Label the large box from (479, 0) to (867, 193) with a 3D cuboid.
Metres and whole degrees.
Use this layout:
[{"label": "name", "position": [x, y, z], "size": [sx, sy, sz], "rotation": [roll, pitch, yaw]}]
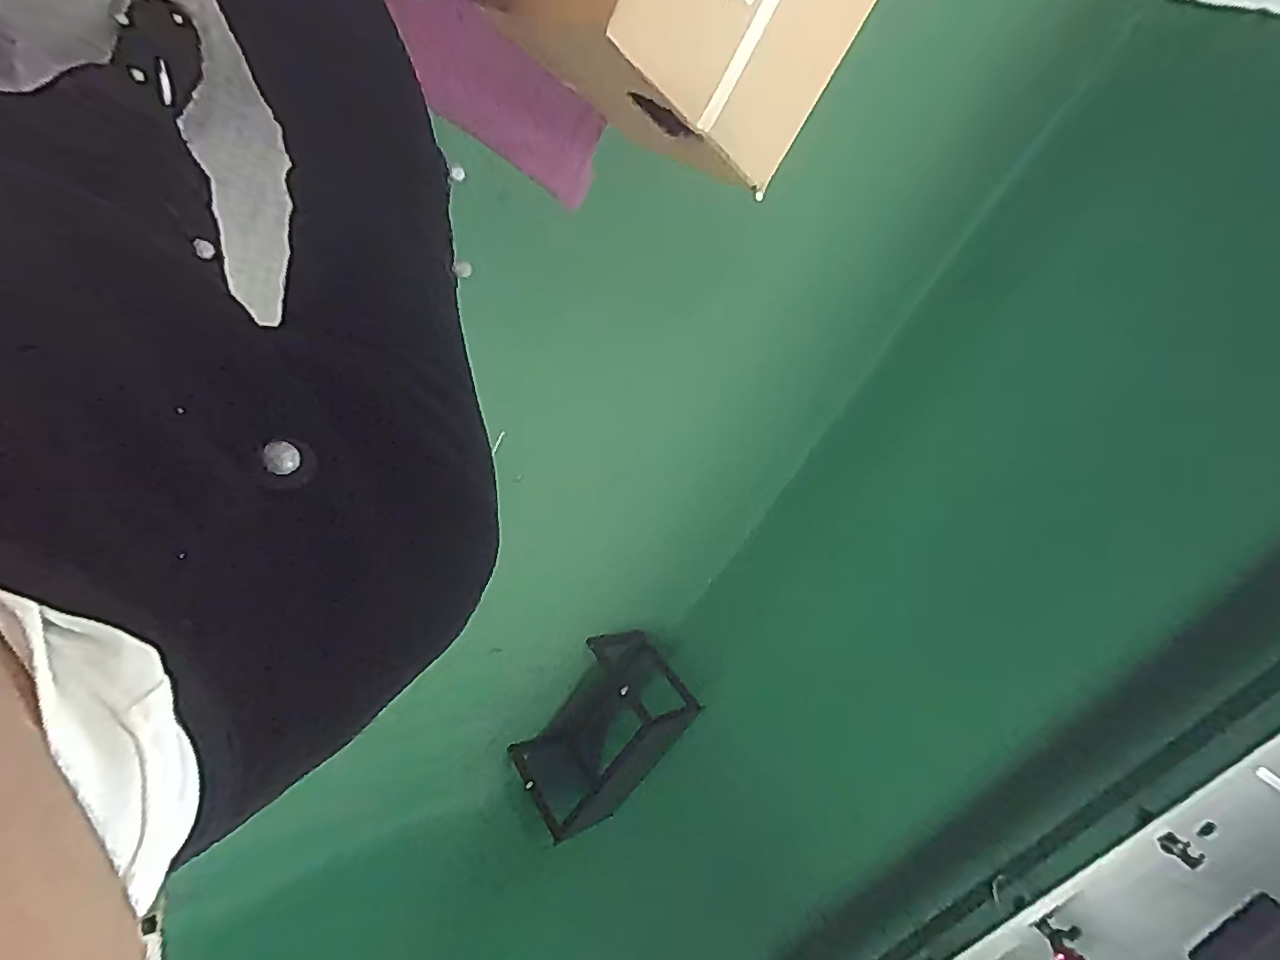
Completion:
[{"label": "large box", "position": [0.072, -0.653, 0.644], "size": [0.320, 0.320, 0.408], "rotation": [8, 121, -49]}]
